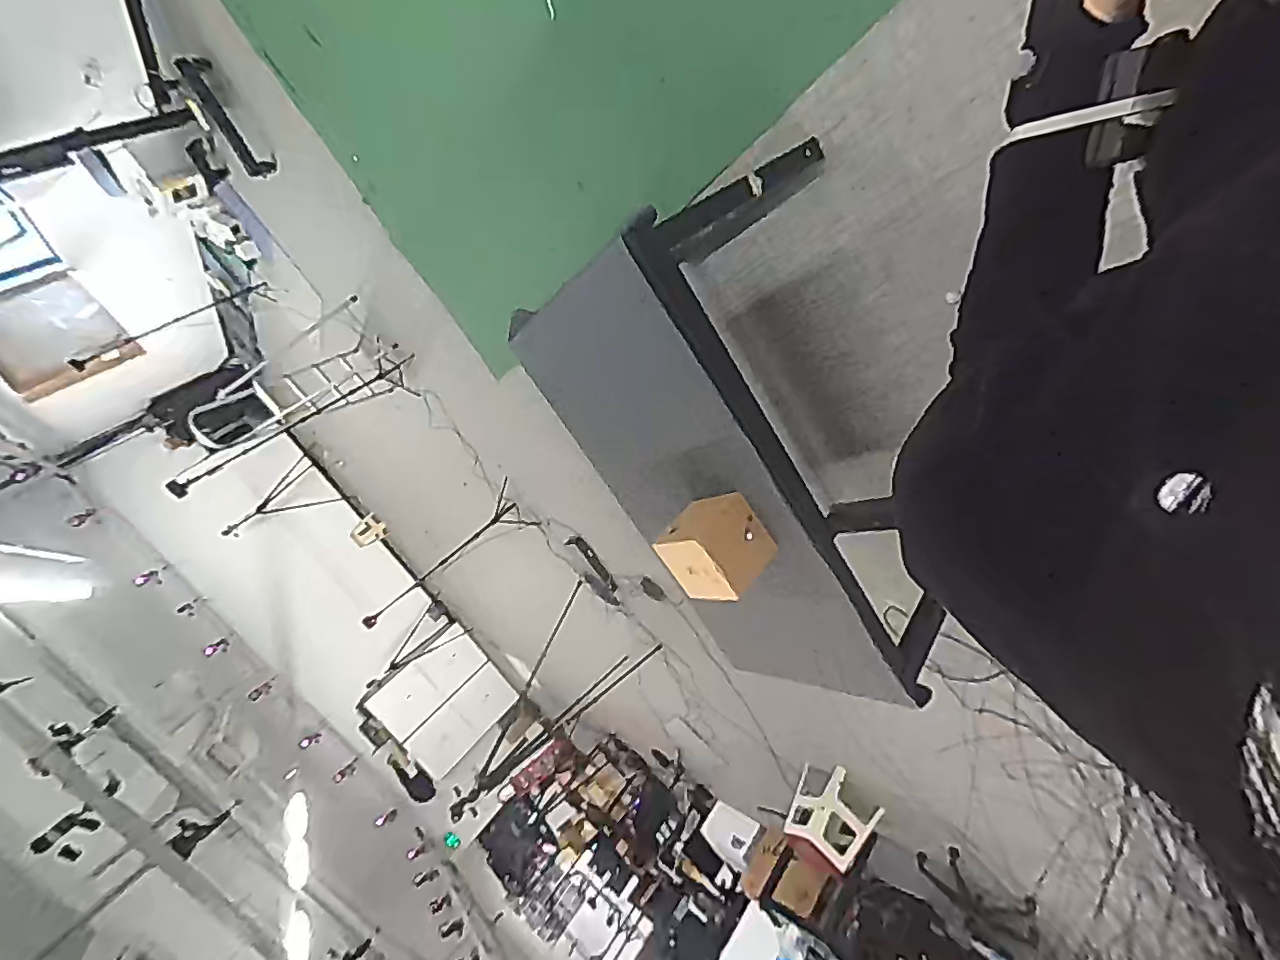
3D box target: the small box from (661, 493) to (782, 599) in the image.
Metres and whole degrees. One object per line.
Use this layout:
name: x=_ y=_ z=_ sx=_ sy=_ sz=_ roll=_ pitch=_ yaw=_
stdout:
small box: x=0.187 y=0.150 z=1.230 sx=0.168 sy=0.176 sz=0.179 roll=53 pitch=149 yaw=-12
